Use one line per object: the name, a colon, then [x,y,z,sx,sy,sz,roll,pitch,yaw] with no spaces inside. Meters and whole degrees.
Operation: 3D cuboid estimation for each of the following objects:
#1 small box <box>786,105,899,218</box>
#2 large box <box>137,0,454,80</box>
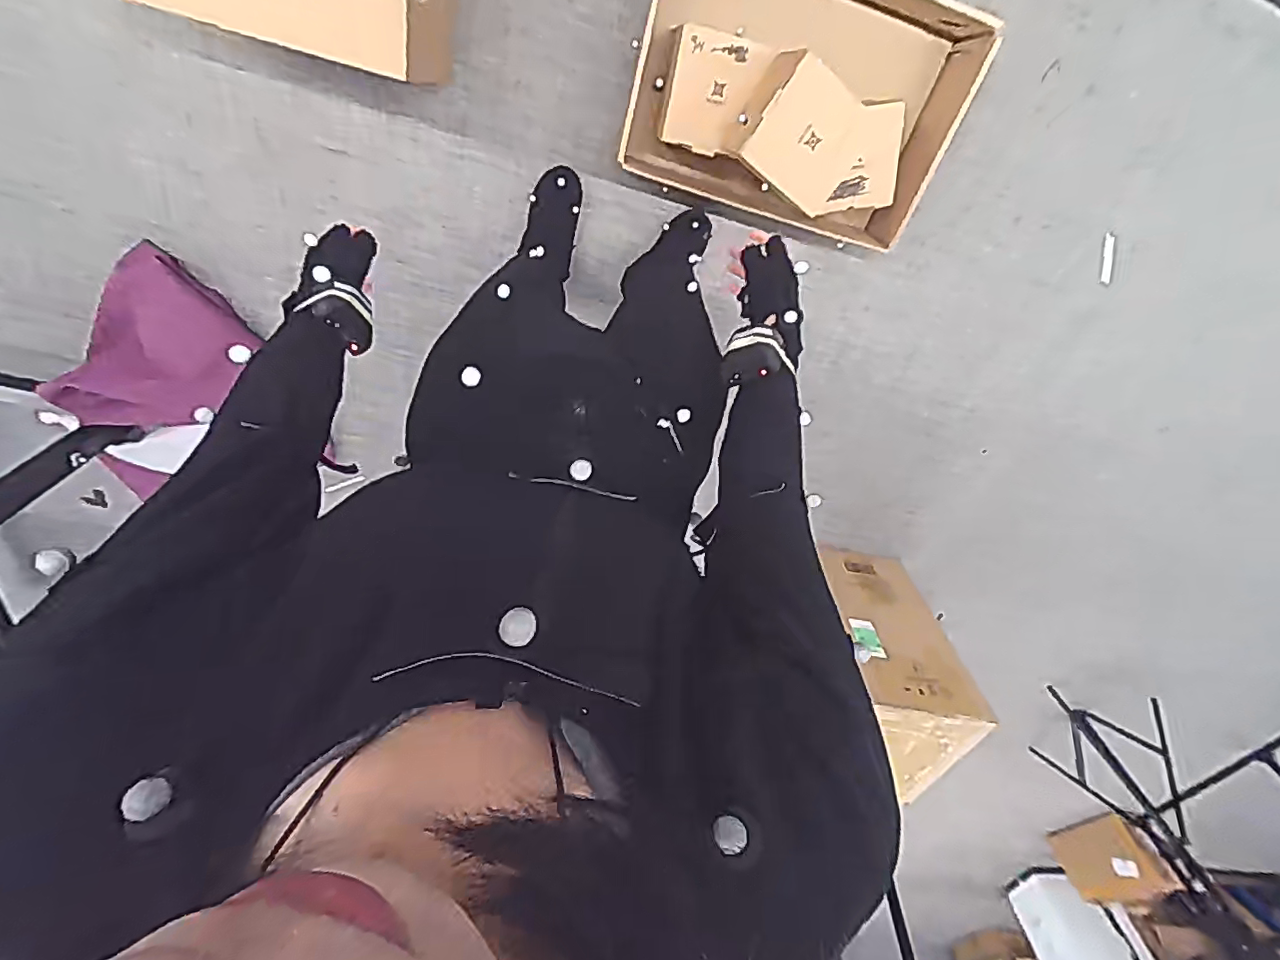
small box: [0.404,-0.655,1.110,0.168,0.176,0.179,-7,124,2]
large box: [-0.531,-0.880,0.860,0.408,0.320,0.320,9,125,-11]
